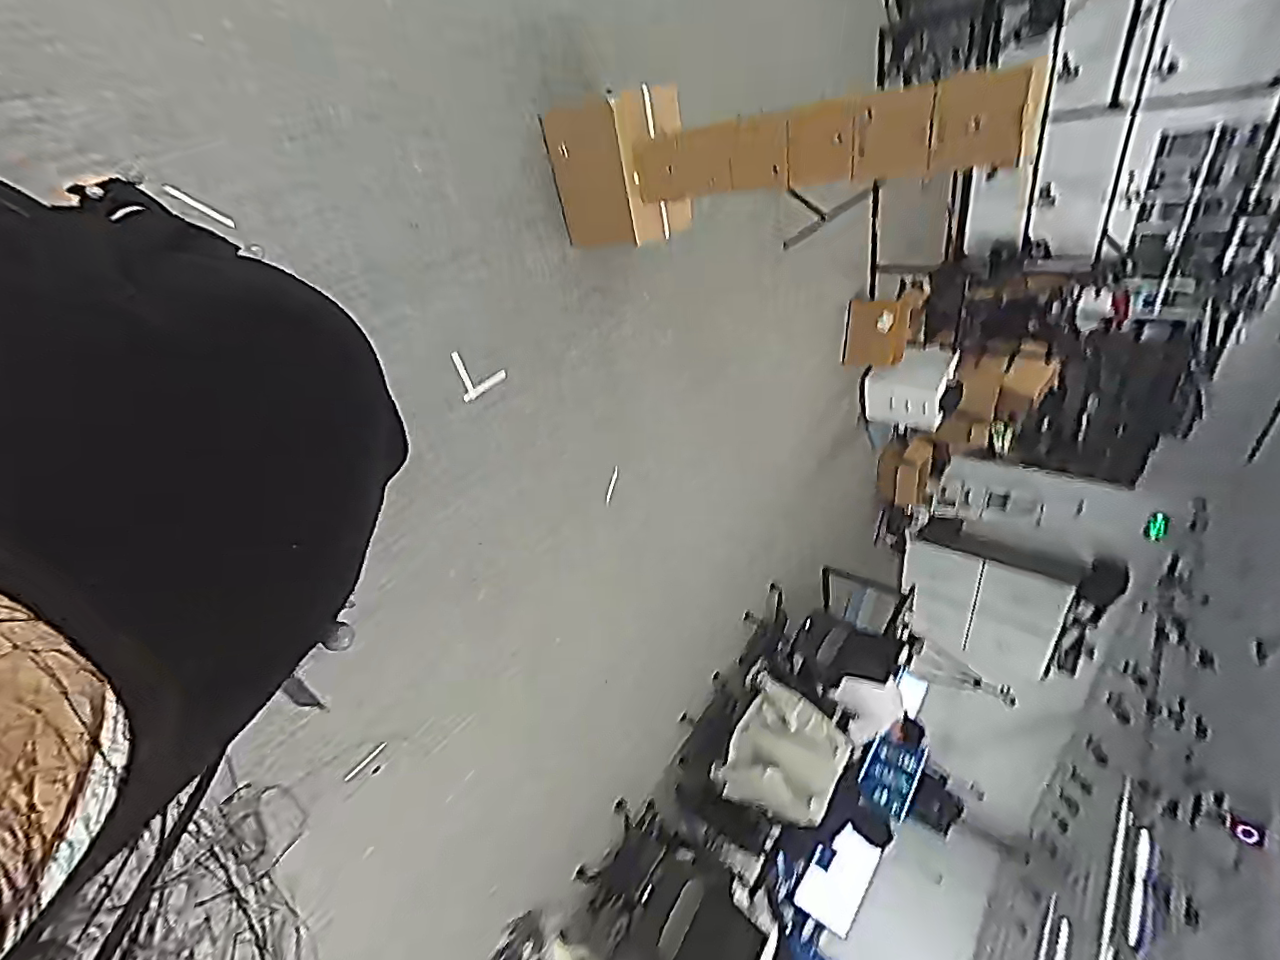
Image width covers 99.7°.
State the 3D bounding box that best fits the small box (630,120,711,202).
[{"bbox_3d":[0.090,-0.954,1.625,0.168,0.176,0.179,-42,134,-32],"label":"small box"}]

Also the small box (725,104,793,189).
[{"bbox_3d":[0.341,-0.880,1.426,0.168,0.176,0.179,-39,132,-36],"label":"small box"}]

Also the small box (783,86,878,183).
[{"bbox_3d":[0.464,-0.842,1.328,0.168,0.176,0.179,-38,131,-35],"label":"small box"}]

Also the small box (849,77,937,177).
[{"bbox_3d":[0.590,-0.802,1.230,0.179,0.176,0.168,-39,131,-36],"label":"small box"}]

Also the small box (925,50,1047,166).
[{"bbox_3d":[0.712,-0.768,1.125,0.179,0.176,0.168,-39,131,-34],"label":"small box"}]
